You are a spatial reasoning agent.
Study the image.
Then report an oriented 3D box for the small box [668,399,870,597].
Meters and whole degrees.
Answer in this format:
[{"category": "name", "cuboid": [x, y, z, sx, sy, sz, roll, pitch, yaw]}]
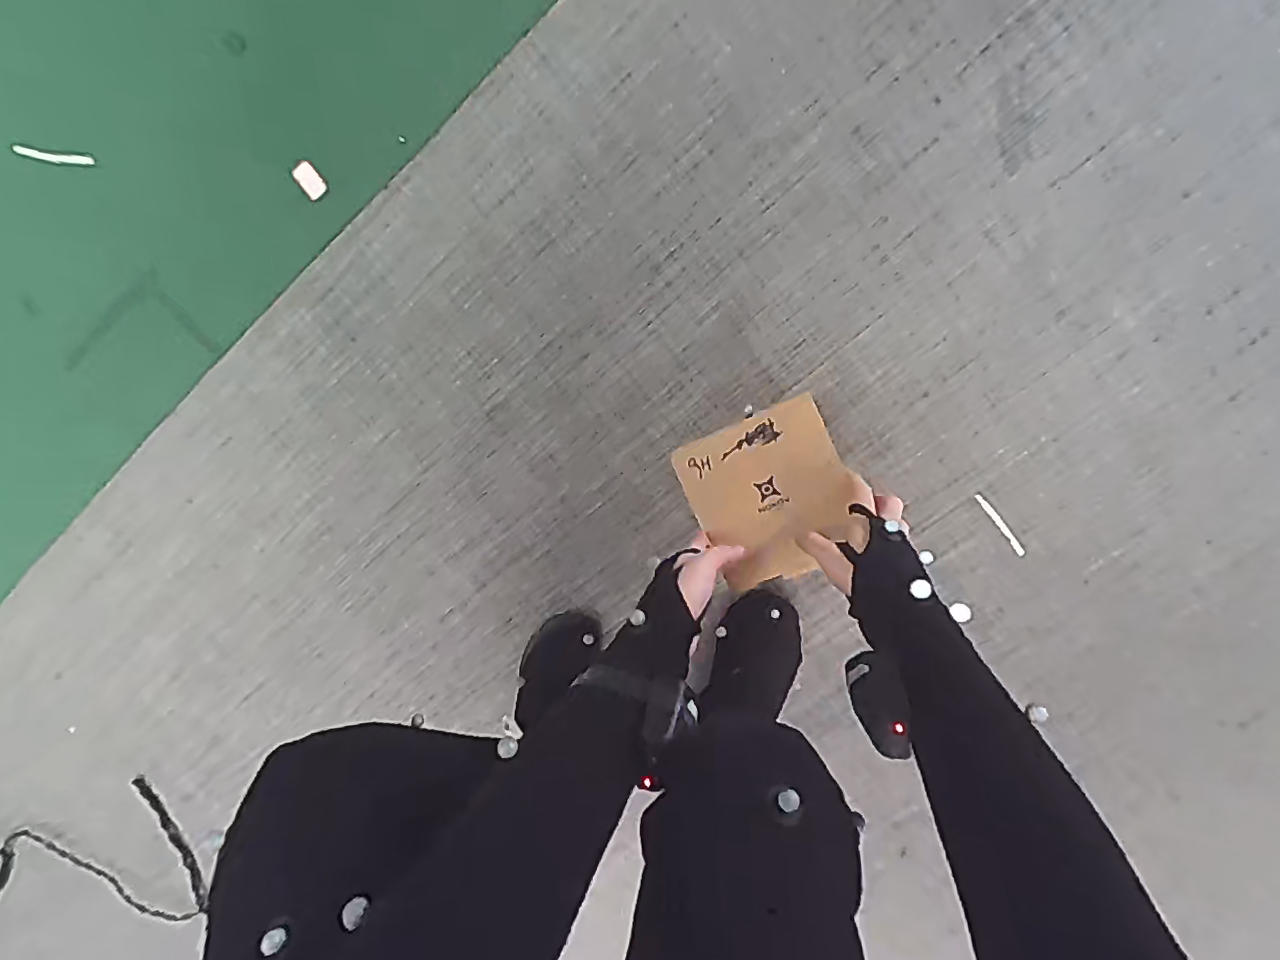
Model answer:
[{"category": "small box", "cuboid": [0.152, 0.013, 0.655, 0.168, 0.176, 0.179, -23, 91, 12]}]
